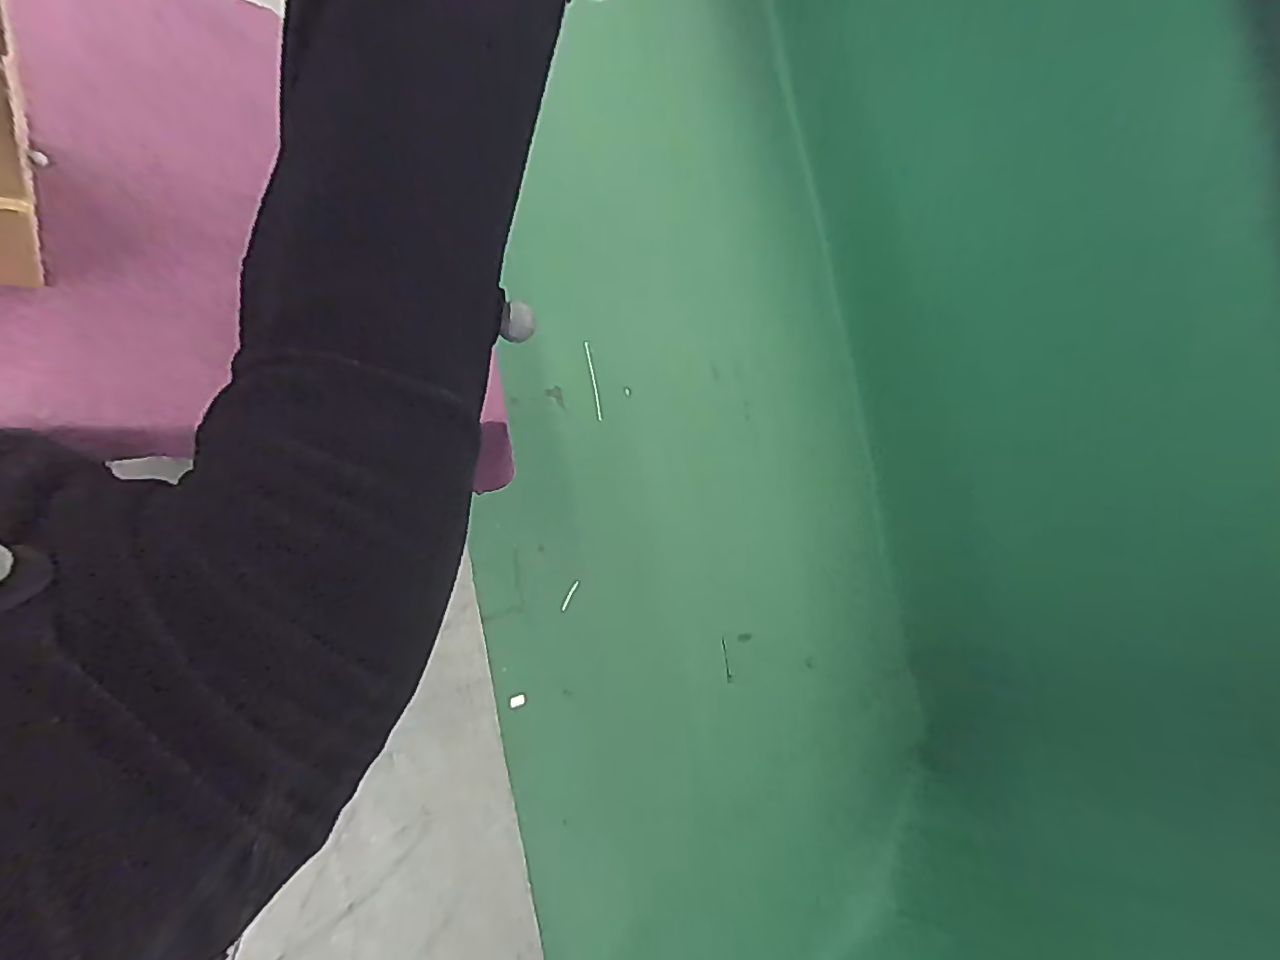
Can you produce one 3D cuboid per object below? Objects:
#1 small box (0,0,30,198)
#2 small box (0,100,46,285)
[{"bbox_3d":[-0.531,-0.327,0.351,0.168,0.176,0.179,-6,85,-46],"label":"small box"},{"bbox_3d":[-0.644,-0.292,0.465,0.168,0.176,0.179,-6,84,-46],"label":"small box"}]
